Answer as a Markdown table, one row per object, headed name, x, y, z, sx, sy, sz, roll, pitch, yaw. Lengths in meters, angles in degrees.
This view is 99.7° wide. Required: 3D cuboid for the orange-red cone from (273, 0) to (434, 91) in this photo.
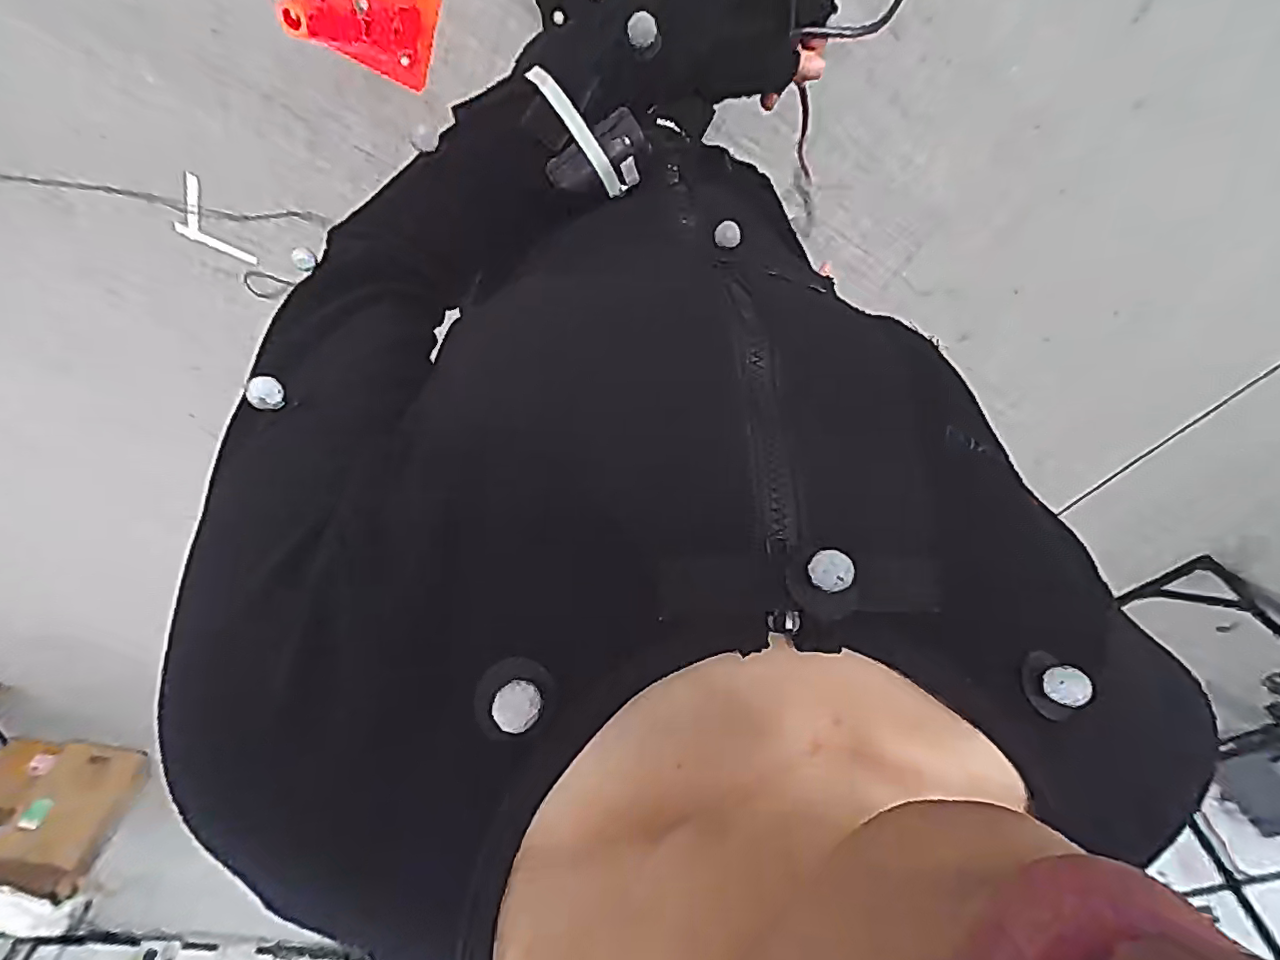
| name | x | y | z | sx | sy | sz | roll | pitch | yaw |
| --- | --- | --- | --- | --- | --- | --- | --- | --- | --- |
| orange-red cone | -0.496 | -0.761 | 0.882 | 0.198 | 0.360 | 0.199 | 20 | 128 | -18 |
